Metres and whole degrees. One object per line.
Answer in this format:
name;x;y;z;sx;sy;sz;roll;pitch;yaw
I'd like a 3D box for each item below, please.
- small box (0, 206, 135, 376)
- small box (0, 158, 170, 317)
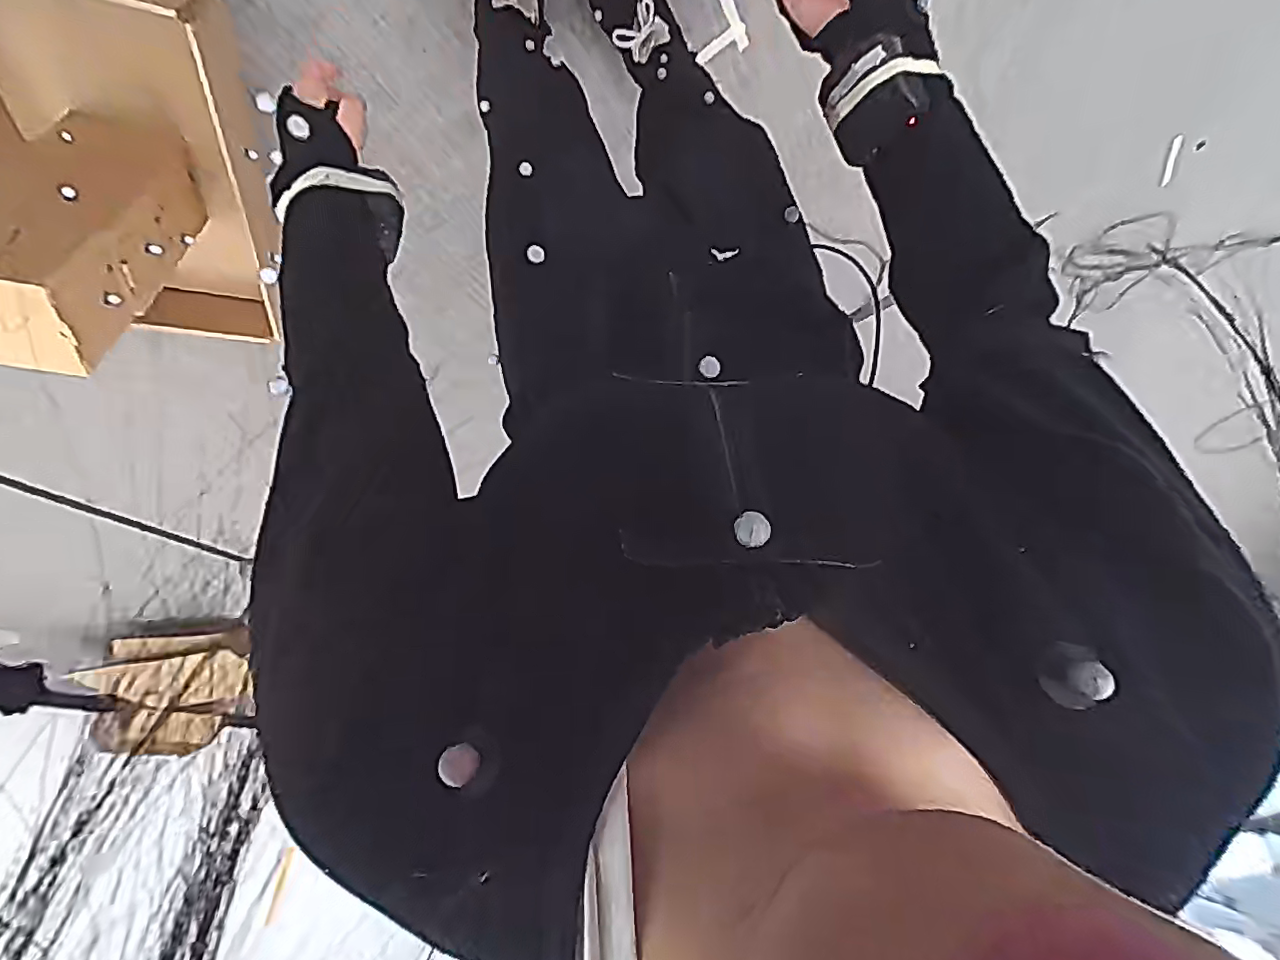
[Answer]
small box;-0.918;-0.284;0.805;0.179;0.176;0.168;6;140;-20
small box;-0.935;-0.408;0.910;0.179;0.176;0.168;6;140;-21
